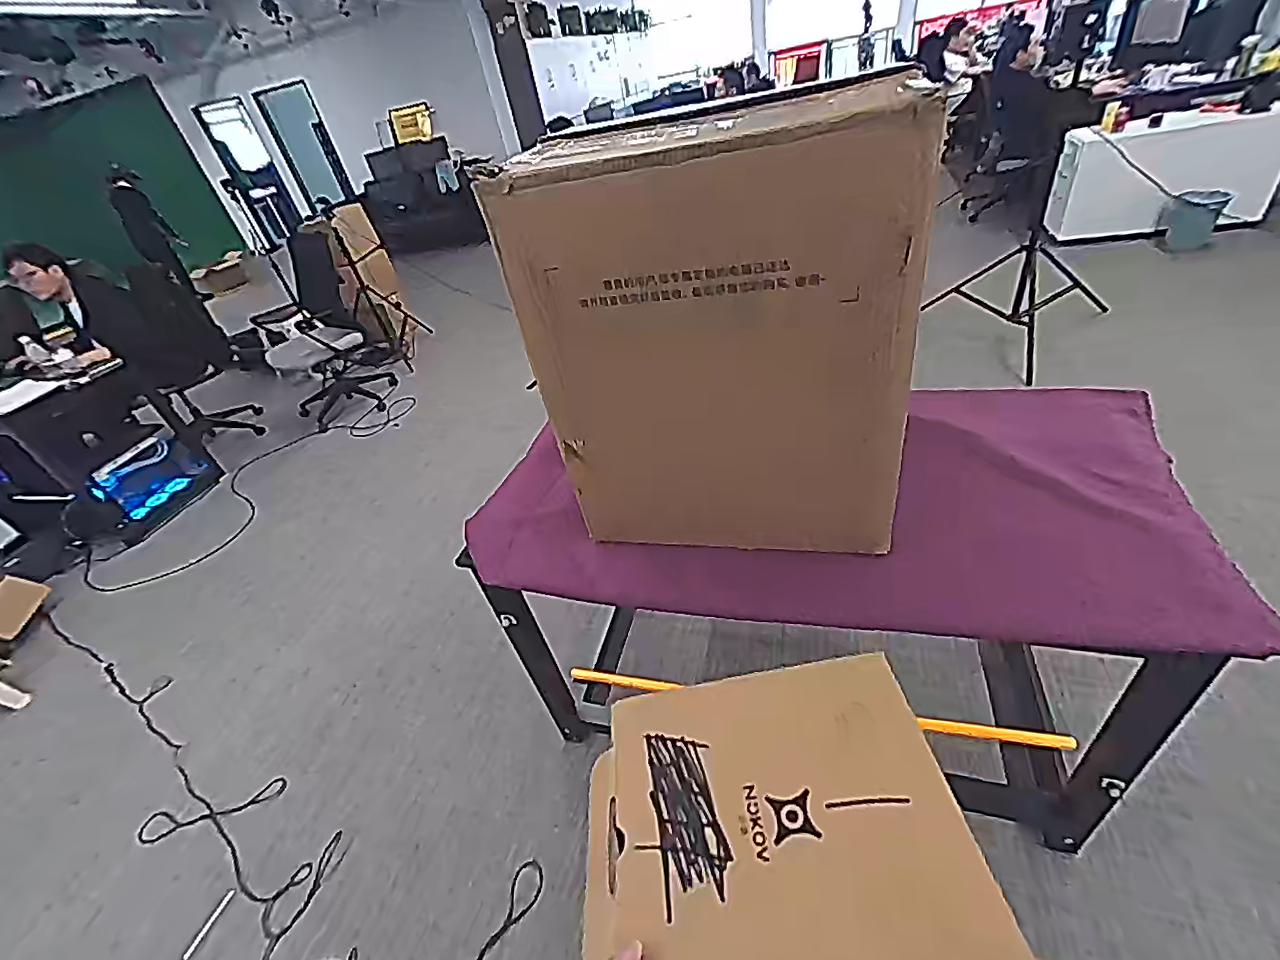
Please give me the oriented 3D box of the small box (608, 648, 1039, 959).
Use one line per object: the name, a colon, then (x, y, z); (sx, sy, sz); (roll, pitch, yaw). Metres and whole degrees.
small box: (0.088, 0.231, 0.317); (0.179, 0.176, 0.168); (-12, 34, 6)
